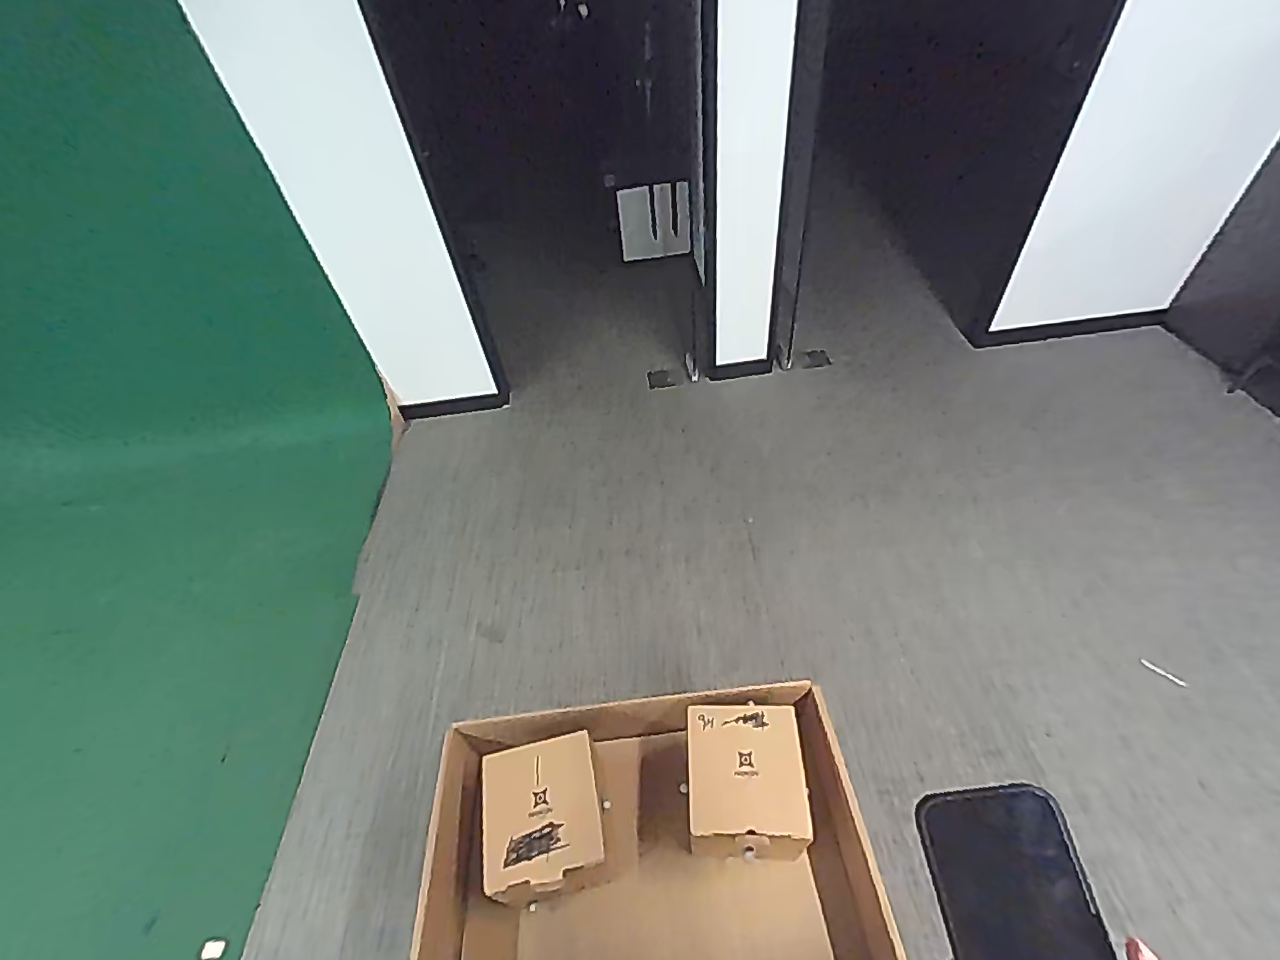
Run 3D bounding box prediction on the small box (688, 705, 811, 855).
[{"bbox_3d":[0.162,0.466,0.838,0.168,0.176,0.179,-2,48,6],"label":"small box"}]
